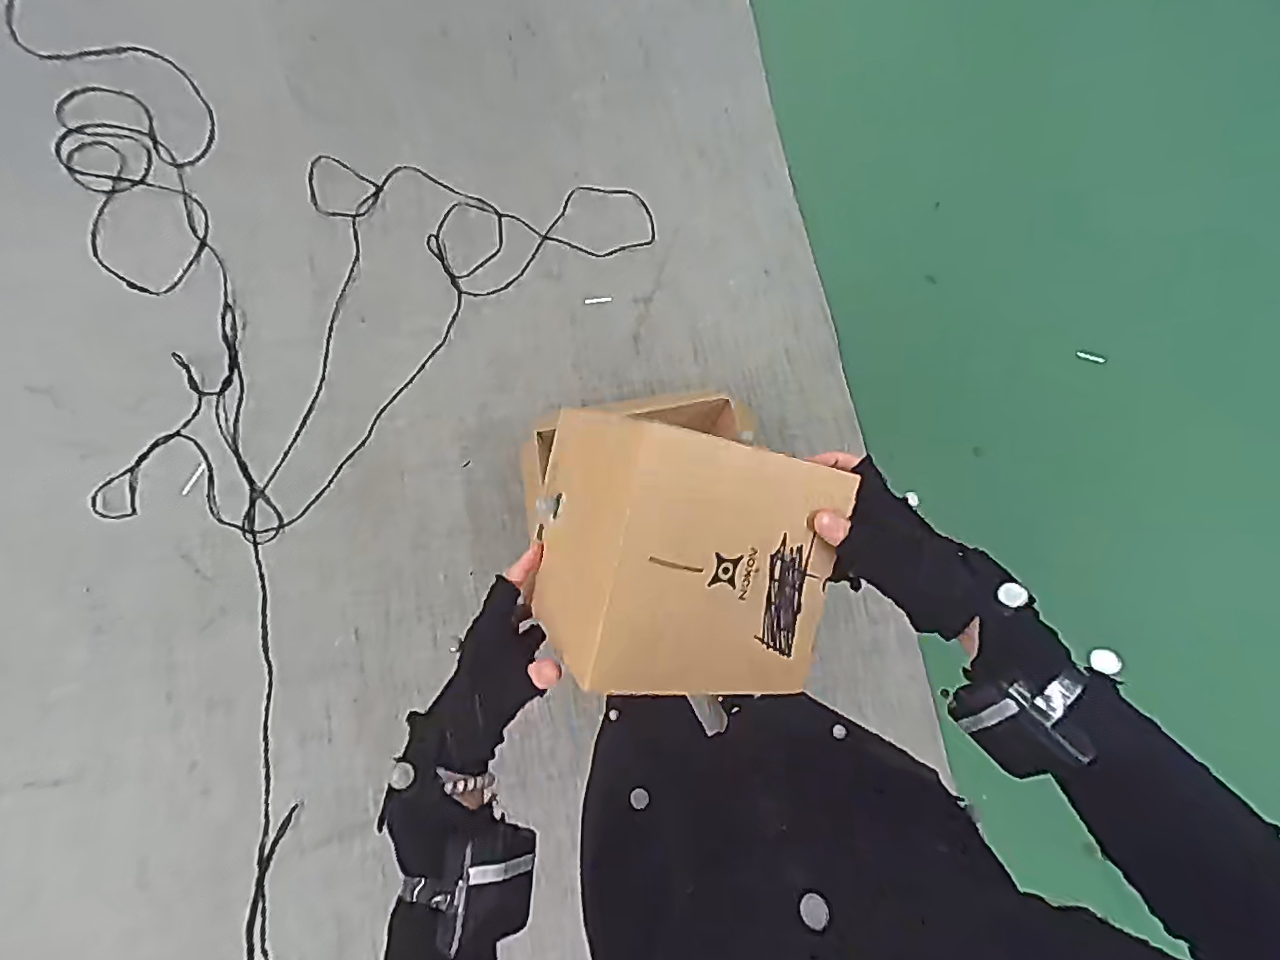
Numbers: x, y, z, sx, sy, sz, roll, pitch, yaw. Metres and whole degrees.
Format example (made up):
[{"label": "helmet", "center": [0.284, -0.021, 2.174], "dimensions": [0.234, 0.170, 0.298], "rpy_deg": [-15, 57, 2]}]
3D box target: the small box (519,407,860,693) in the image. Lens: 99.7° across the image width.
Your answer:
[{"label": "small box", "center": [0.025, 0.043, 0.414], "dimensions": [0.179, 0.176, 0.168], "rpy_deg": [14, 92, -26]}]
